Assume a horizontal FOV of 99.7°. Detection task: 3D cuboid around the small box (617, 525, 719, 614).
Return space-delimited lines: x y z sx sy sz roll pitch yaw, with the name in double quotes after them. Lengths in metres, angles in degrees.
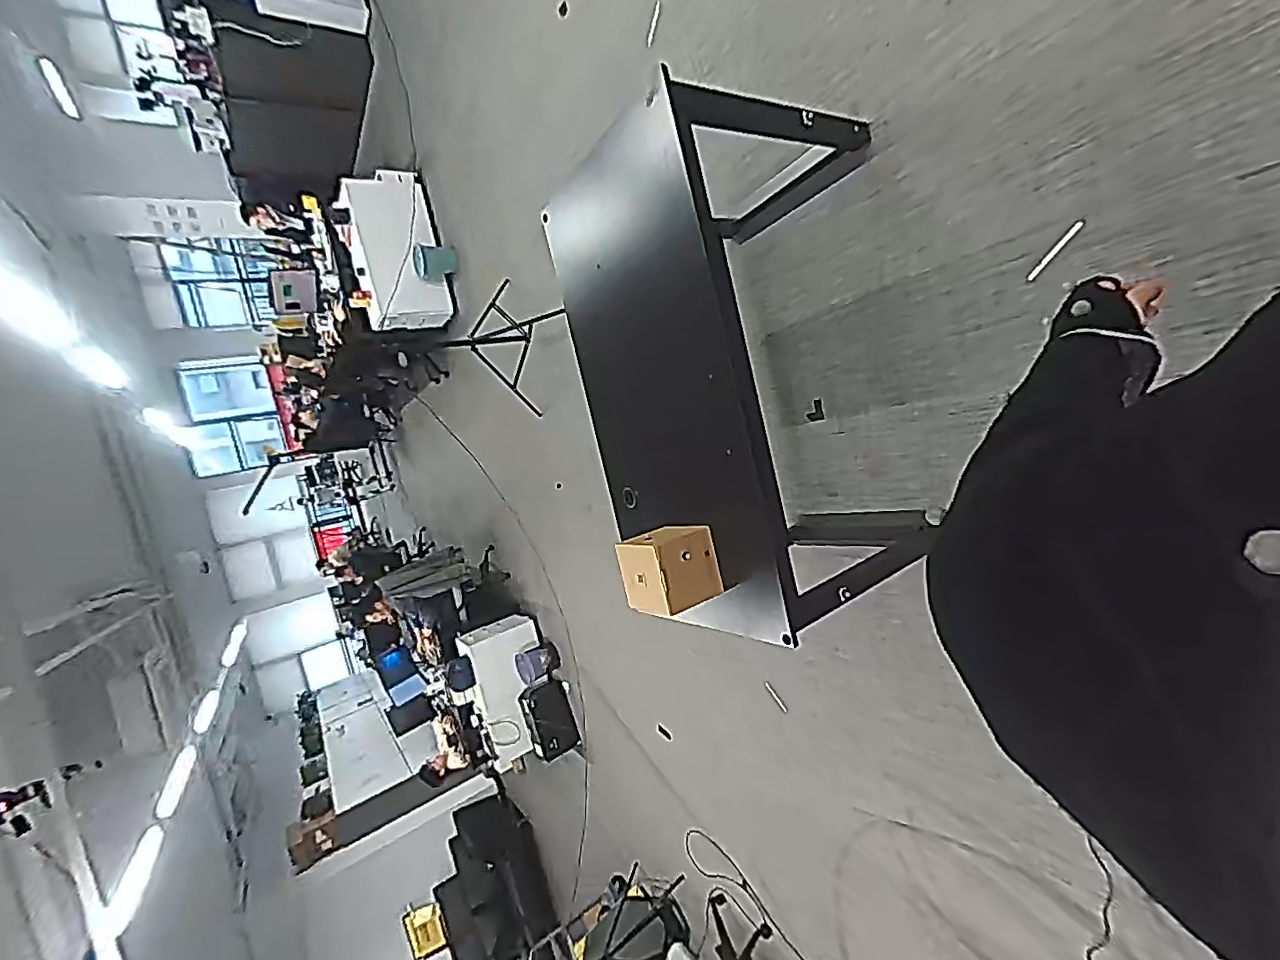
0.072 0.206 1.304 0.179 0.176 0.168 -8 96 58 "small box"
